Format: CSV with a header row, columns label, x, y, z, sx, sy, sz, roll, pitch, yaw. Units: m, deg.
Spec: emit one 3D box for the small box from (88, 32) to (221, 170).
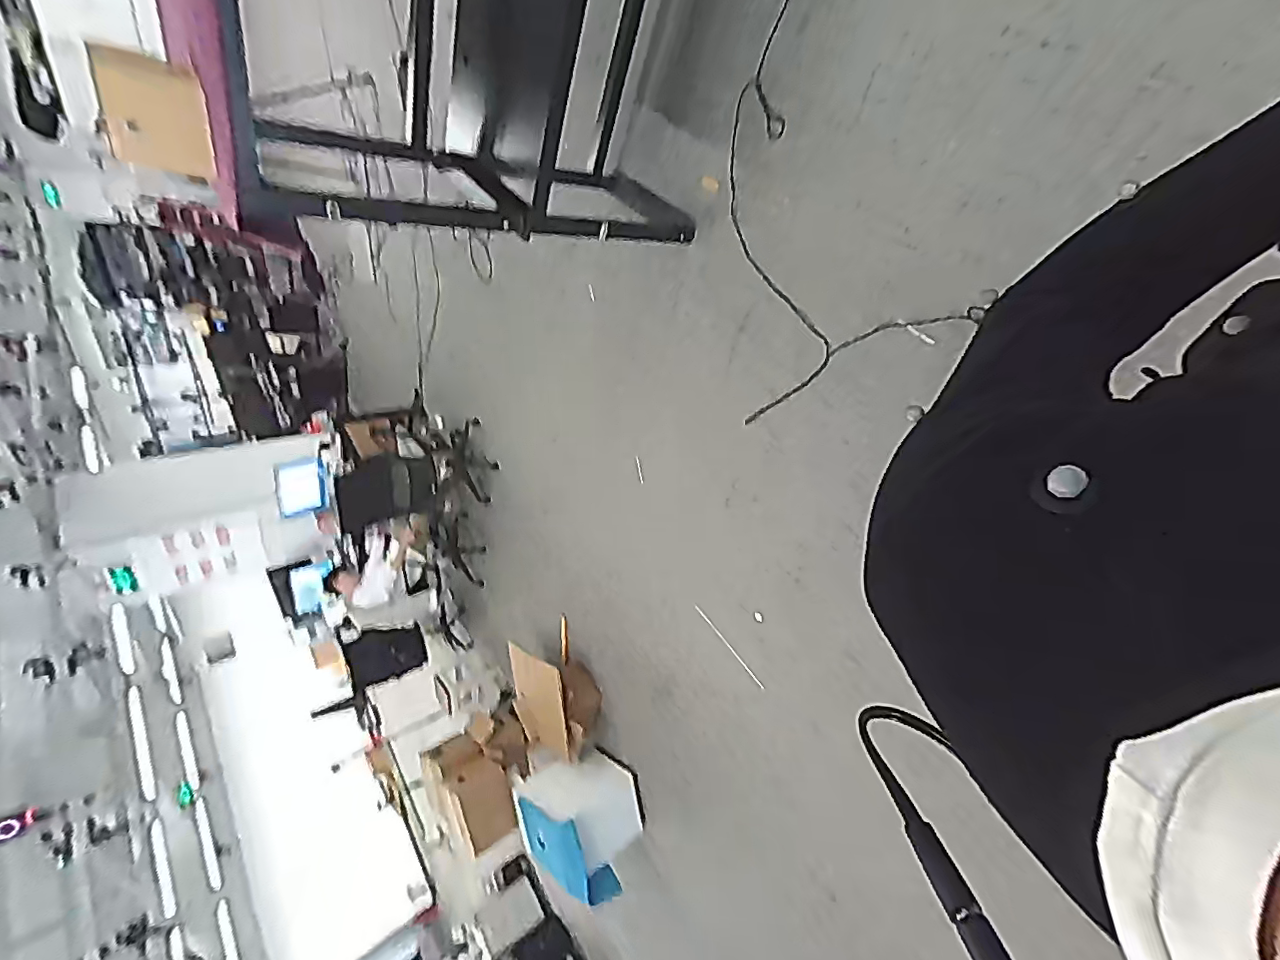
label,x,y,z,sx,sy,sz,roll,pitch,yaw
small box,-0.979,-0.760,1.102,0.168,0.176,0.179,50,135,28
